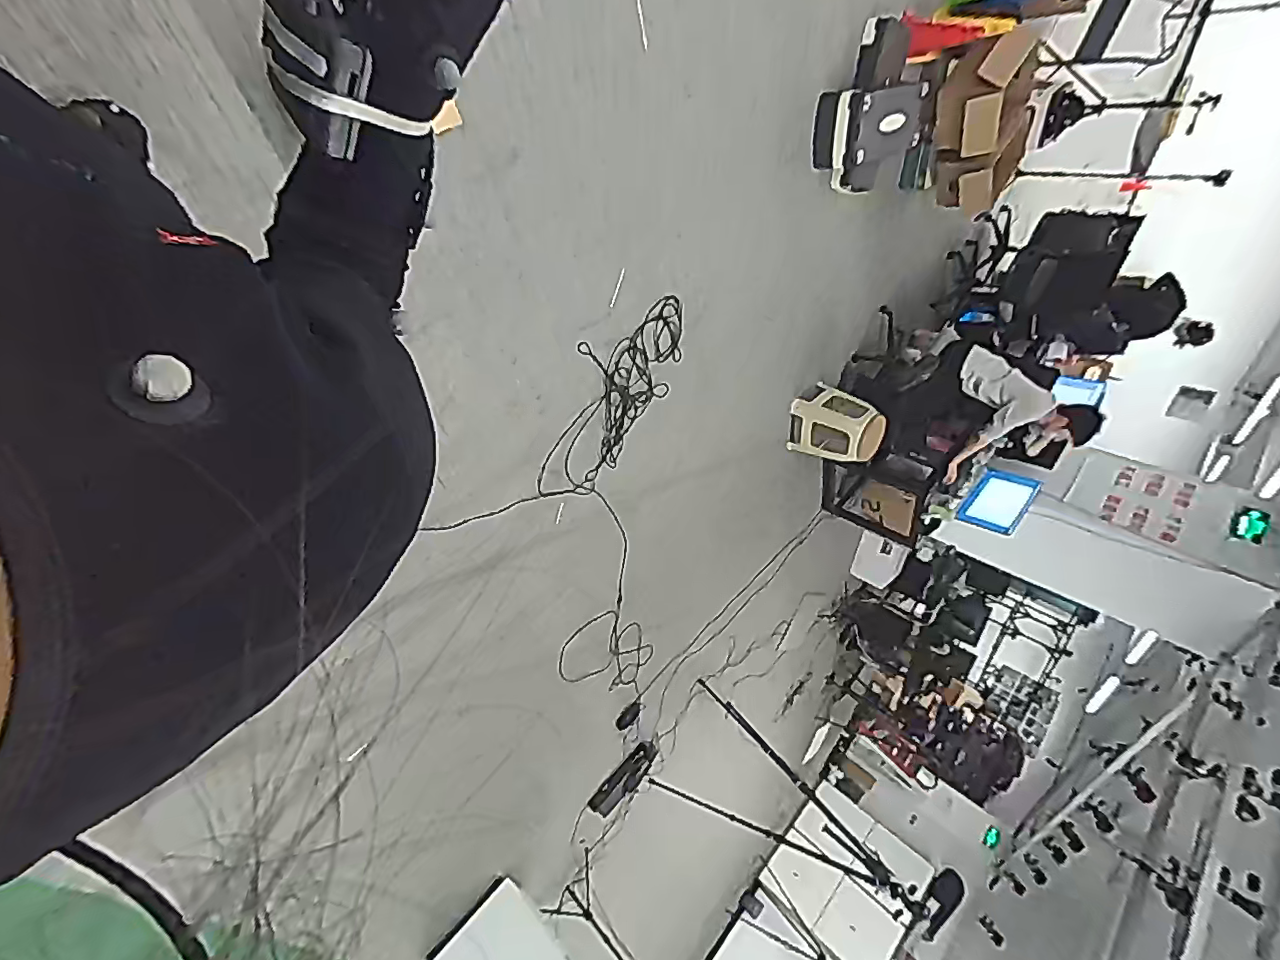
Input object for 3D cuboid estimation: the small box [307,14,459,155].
[{"bbox_3d":[-0.485,-0.743,1.027,0.168,0.176,0.179,-43,138,-24],"label":"small box"}]
